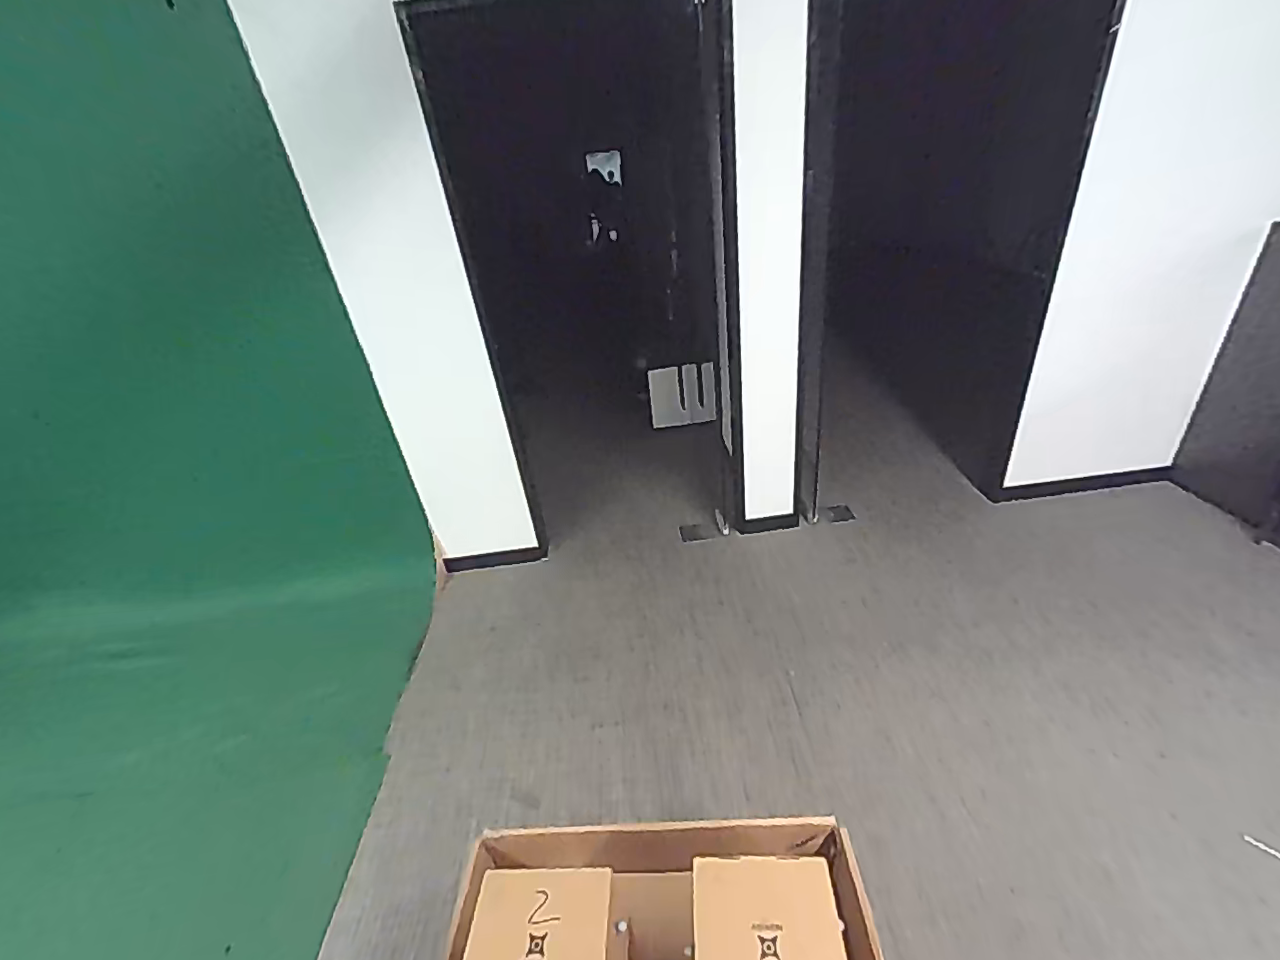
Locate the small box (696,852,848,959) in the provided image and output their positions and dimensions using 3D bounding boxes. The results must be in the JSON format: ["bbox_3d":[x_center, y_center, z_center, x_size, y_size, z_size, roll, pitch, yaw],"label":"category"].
[{"bbox_3d":[0.155,0.581,0.644,0.168,0.176,0.179,-5,31,8],"label":"small box"}]
